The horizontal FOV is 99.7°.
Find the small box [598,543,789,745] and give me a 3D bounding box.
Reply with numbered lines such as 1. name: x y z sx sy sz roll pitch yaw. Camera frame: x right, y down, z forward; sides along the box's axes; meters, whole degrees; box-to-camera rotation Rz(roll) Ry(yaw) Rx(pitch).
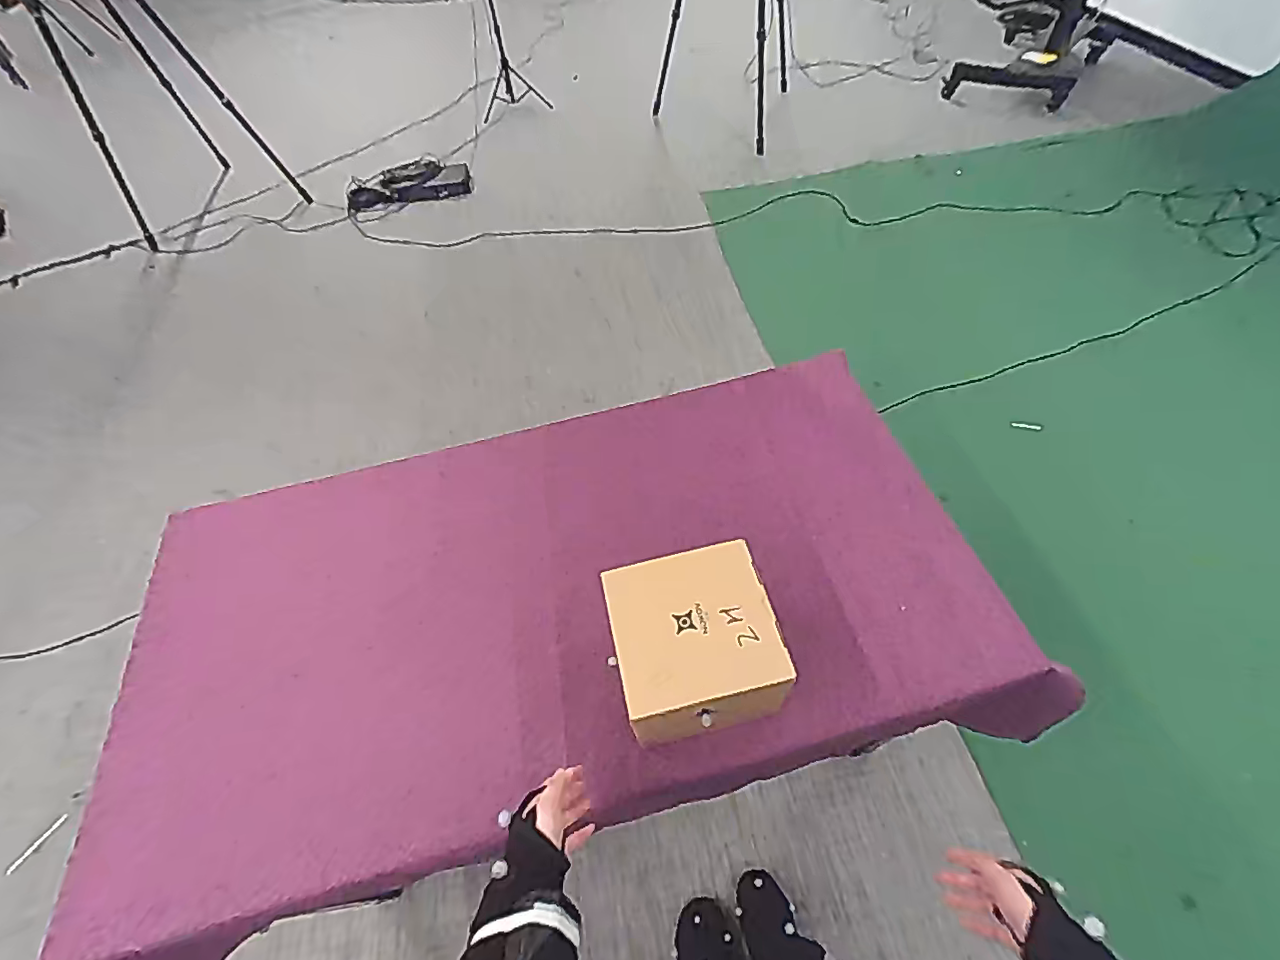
1. small box: 0.058 0.201 0.647 0.179 0.176 0.168 -13 55 -4
